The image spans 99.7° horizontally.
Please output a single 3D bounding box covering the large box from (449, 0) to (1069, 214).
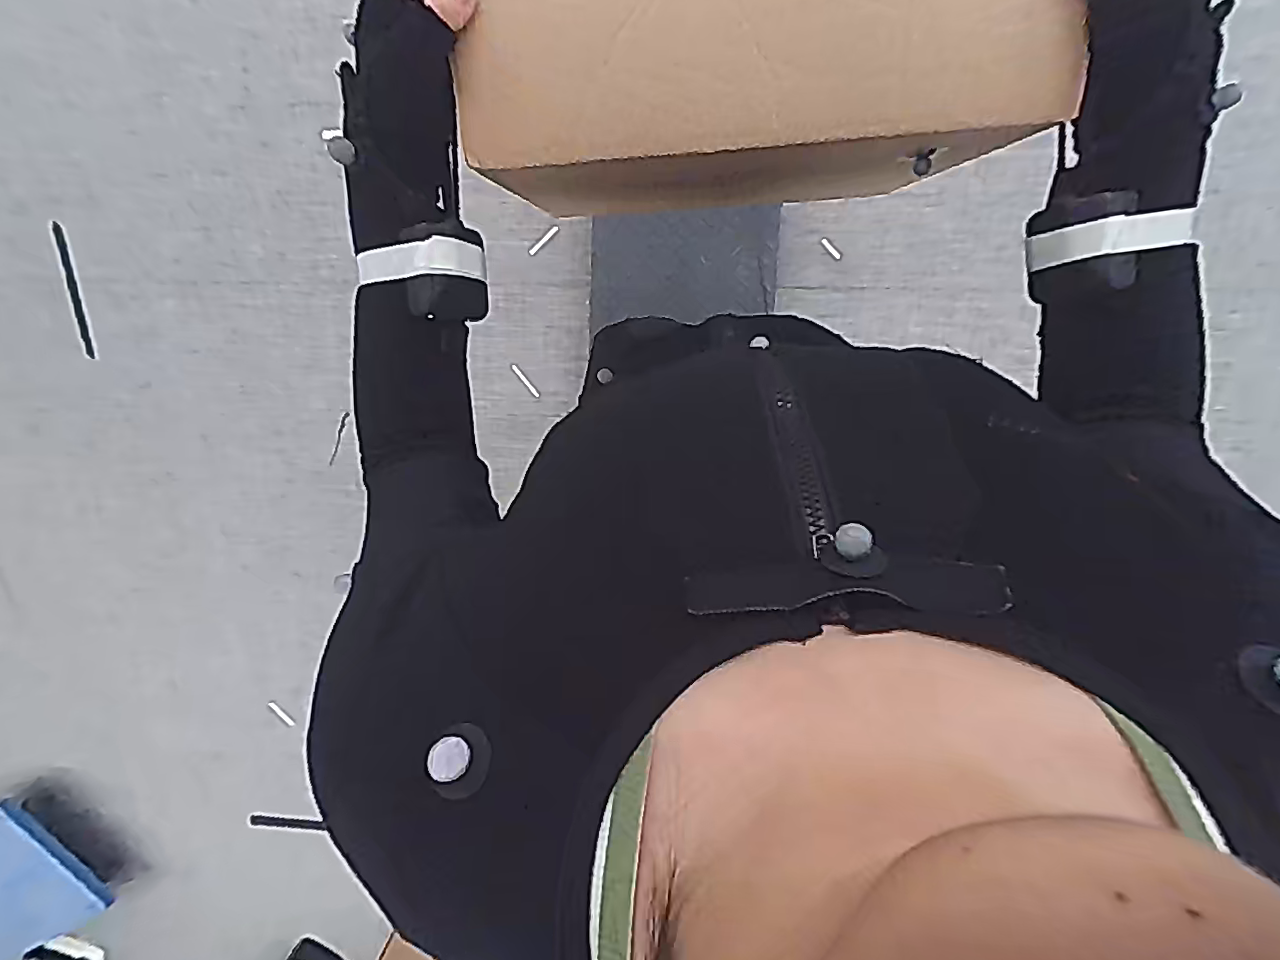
[{"bbox_3d":[0.074,-0.424,0.462,0.408,0.320,0.320,-3,110,2],"label":"large box"}]
